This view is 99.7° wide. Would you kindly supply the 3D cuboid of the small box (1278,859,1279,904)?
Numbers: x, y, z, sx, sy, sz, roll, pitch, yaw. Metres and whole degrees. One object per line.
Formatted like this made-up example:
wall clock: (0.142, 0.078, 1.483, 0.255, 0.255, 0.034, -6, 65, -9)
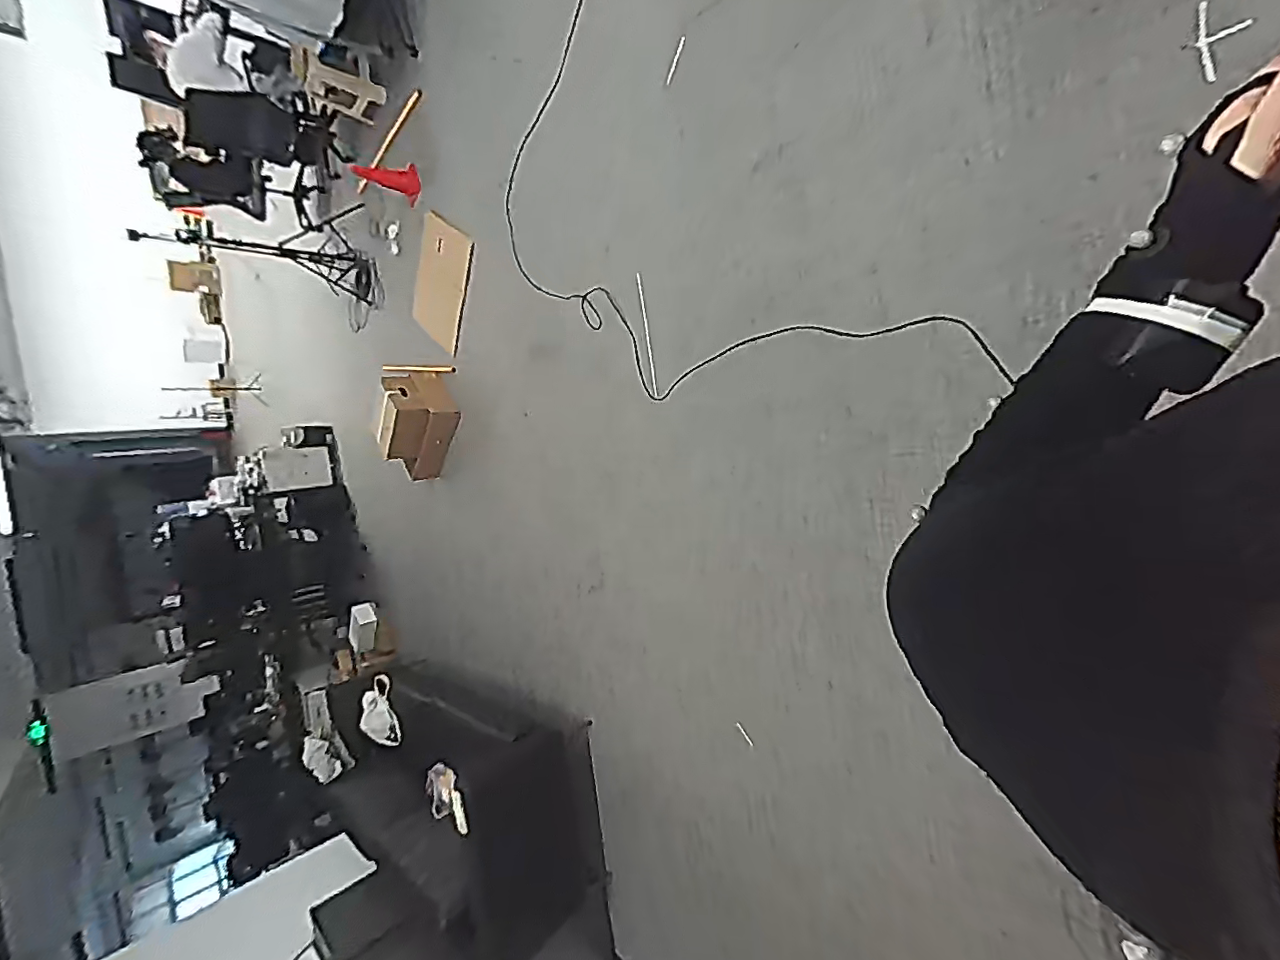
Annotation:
small box: (0.999, 0.602, 0.731, 0.168, 0.176, 0.179, 2, 101, 46)
